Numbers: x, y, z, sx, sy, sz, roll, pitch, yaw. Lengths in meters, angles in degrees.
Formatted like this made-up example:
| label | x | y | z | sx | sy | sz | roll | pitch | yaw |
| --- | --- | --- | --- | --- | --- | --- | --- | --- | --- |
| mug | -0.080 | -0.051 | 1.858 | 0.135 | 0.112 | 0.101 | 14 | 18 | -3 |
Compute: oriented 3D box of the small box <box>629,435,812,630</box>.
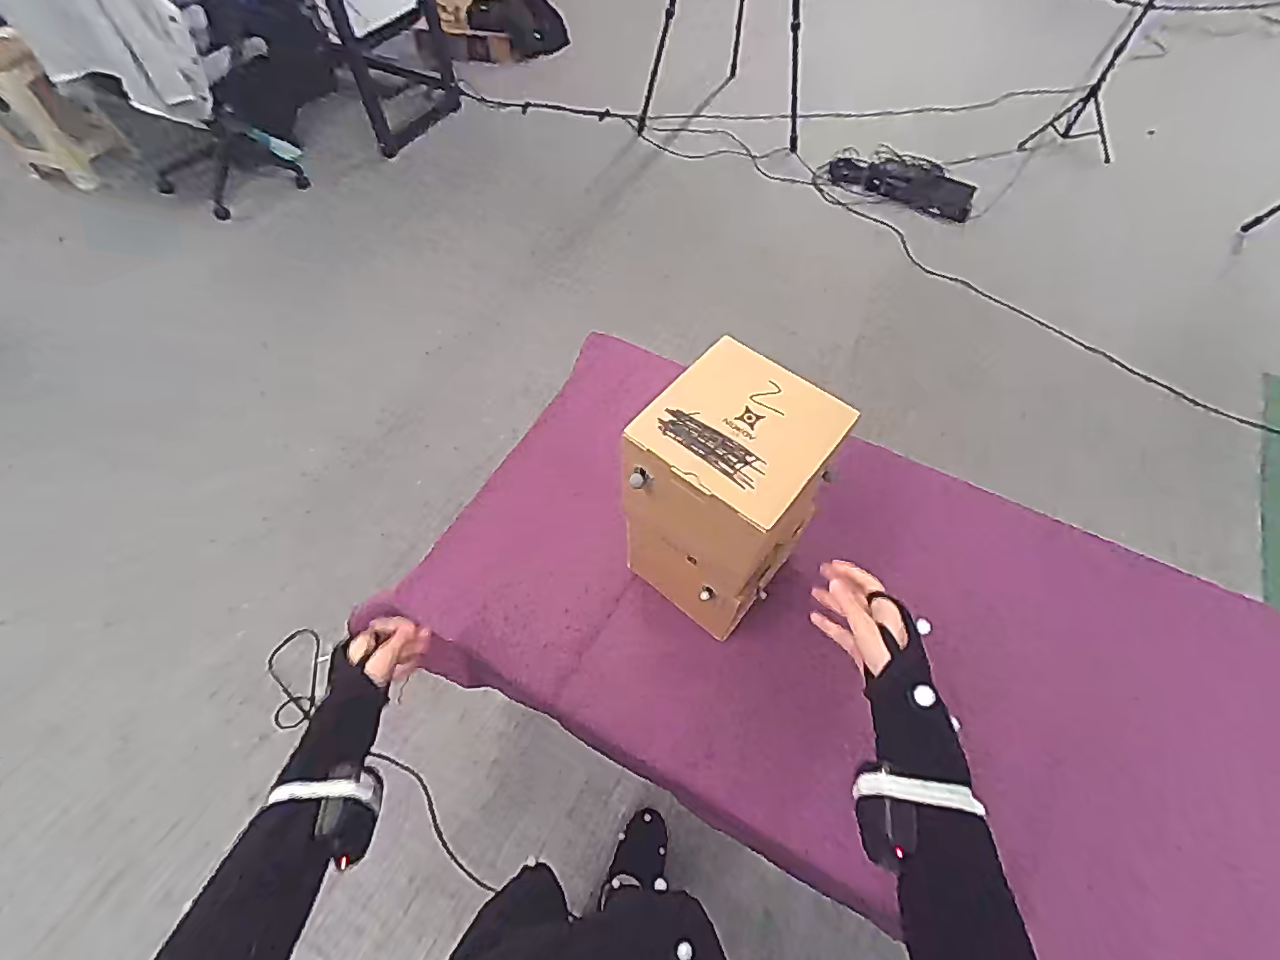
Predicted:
| label | x | y | z | sx | sy | sz | roll | pitch | yaw |
| --- | --- | --- | --- | --- | --- | --- | --- | --- | --- |
| small box | 0.098 | 0.078 | 0.743 | 0.179 | 0.176 | 0.168 | 36 | 63 | 17 |
